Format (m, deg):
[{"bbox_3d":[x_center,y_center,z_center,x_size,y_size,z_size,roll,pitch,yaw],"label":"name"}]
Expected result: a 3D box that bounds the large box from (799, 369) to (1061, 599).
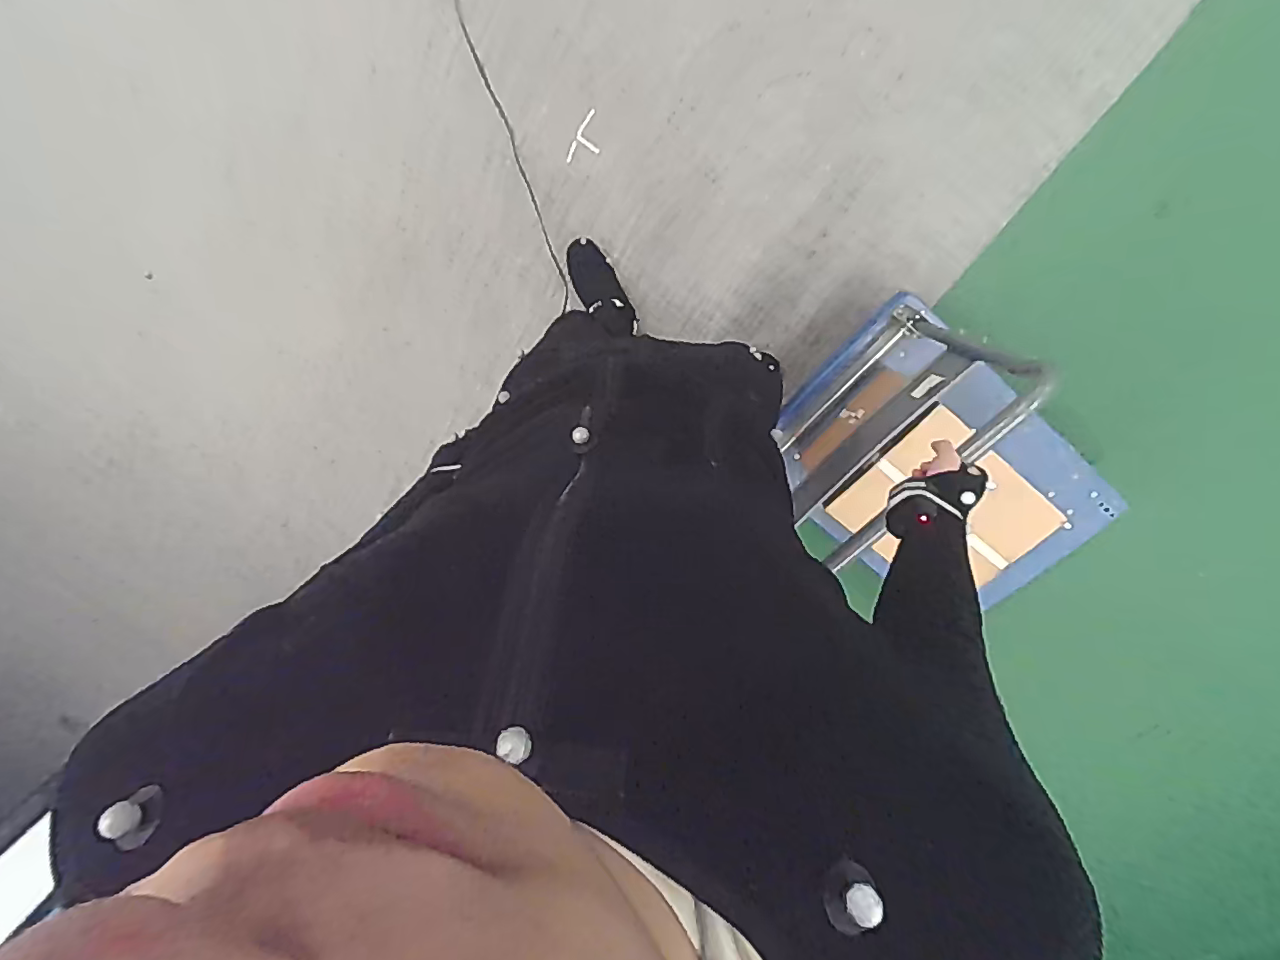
[{"bbox_3d":[0.657,-0.002,1.295,0.408,0.320,0.320,37,114,-12],"label":"large box"}]
